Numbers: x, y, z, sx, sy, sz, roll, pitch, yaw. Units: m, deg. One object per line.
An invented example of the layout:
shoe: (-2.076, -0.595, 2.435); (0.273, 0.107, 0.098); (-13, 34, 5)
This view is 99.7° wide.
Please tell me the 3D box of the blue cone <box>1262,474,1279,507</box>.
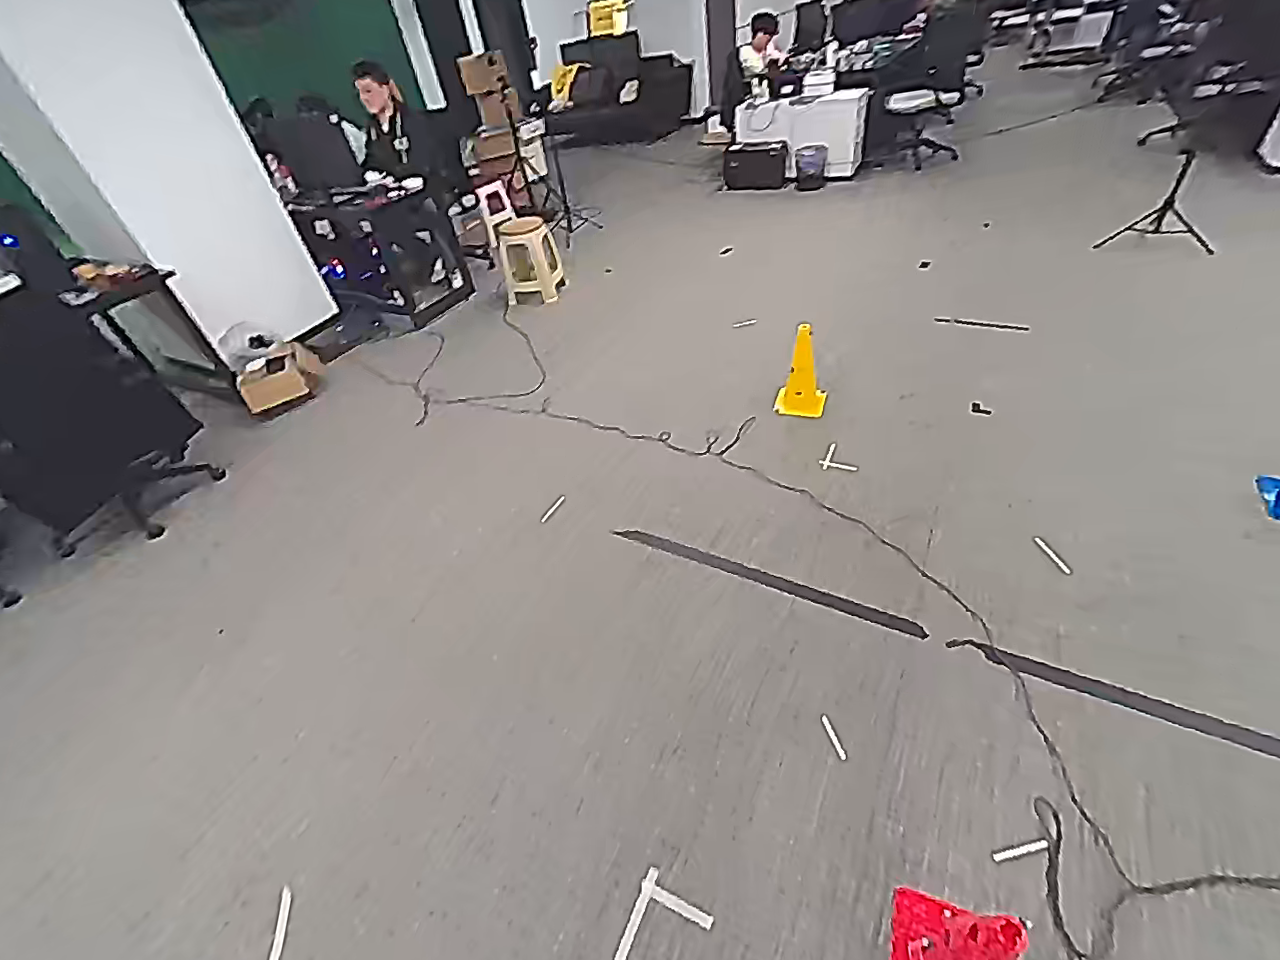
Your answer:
blue cone: (1.960, -0.074, 1.488); (0.193, 0.380, 0.192); (15, 46, 27)

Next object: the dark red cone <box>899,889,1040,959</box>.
dark red cone: (0.538, 0.736, 0.839); (0.202, 0.394, 0.201); (8, 43, 21)
